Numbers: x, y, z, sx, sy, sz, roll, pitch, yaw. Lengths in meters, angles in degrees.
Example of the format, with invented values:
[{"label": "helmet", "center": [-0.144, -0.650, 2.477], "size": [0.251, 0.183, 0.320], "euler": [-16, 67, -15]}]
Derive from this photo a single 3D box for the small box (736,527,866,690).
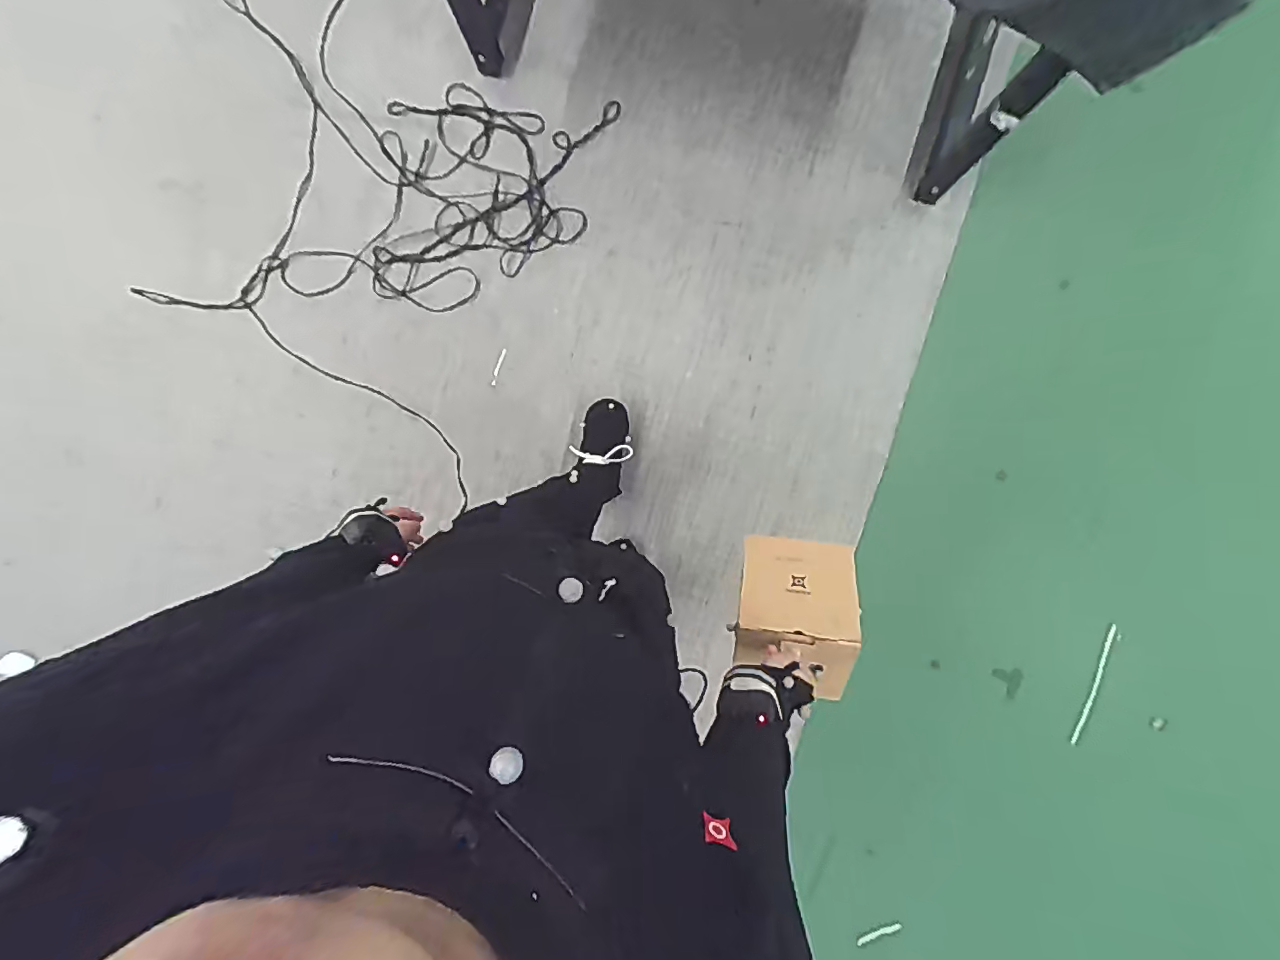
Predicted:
[{"label": "small box", "center": [0.241, 0.199, 0.836], "size": [0.168, 0.179, 0.176], "euler": [6, 133, 10]}]
